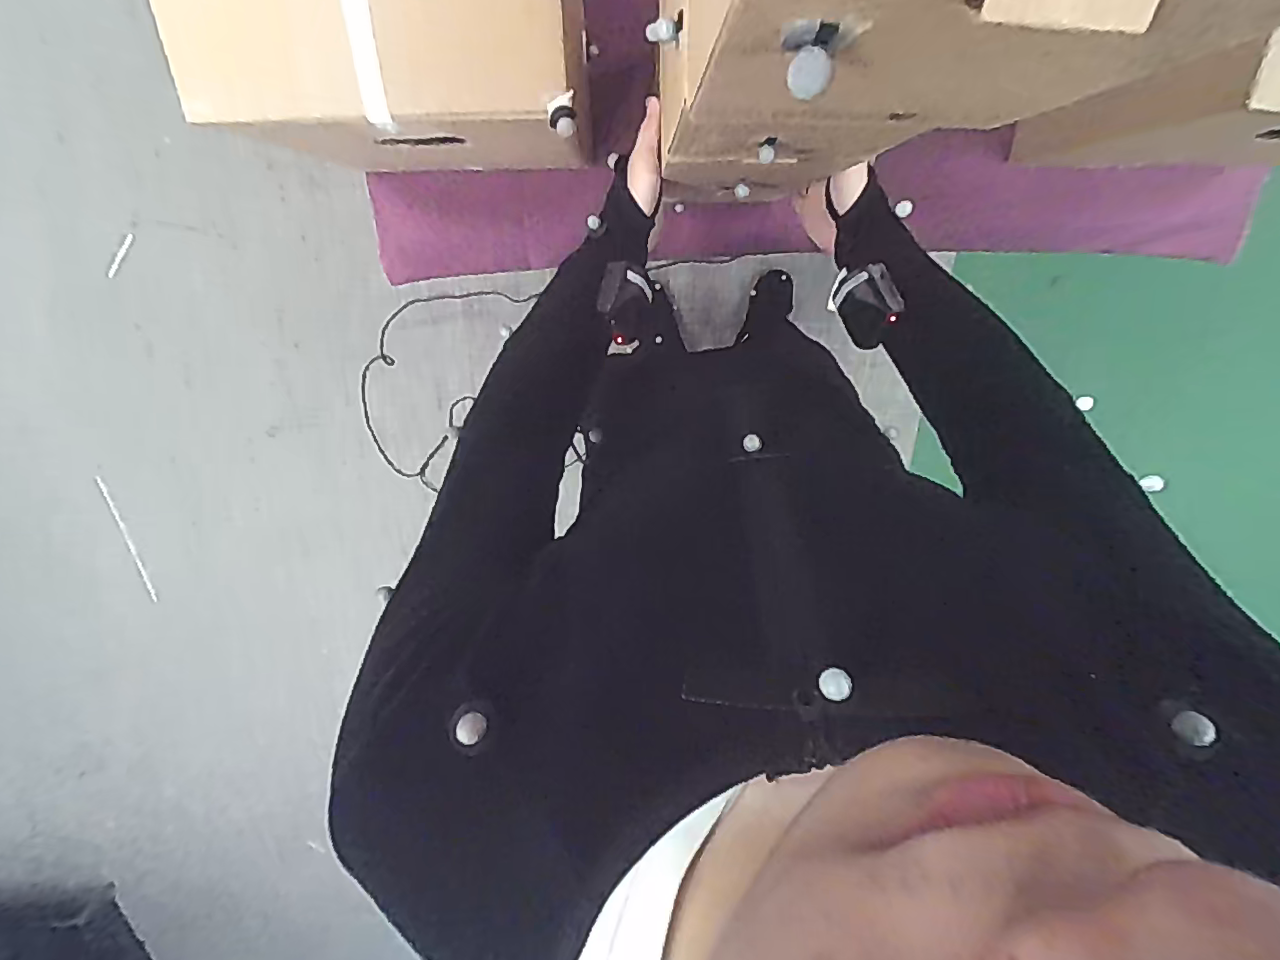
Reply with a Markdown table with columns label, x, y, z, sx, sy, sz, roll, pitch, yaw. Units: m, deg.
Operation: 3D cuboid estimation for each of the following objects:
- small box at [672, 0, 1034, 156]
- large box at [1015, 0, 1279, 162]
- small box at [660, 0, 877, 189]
| label | x | y | z | sx | sy | sz | roll | pitch | yaw |
| --- | --- | --- | --- | --- | --- | --- | --- | --- | --- |
| small box | 0.108 | -0.307 | 0.320 | 0.168 | 0.176 | 0.179 | -2 | 113 | -1 |
| large box | 0.646 | -0.552 | 0.513 | 0.320 | 0.320 | 0.408 | -1 | 114 | 0 |
| small box | 0.103 | -0.365 | 0.470 | 0.168 | 0.176 | 0.179 | -1 | 112 | -1 |
